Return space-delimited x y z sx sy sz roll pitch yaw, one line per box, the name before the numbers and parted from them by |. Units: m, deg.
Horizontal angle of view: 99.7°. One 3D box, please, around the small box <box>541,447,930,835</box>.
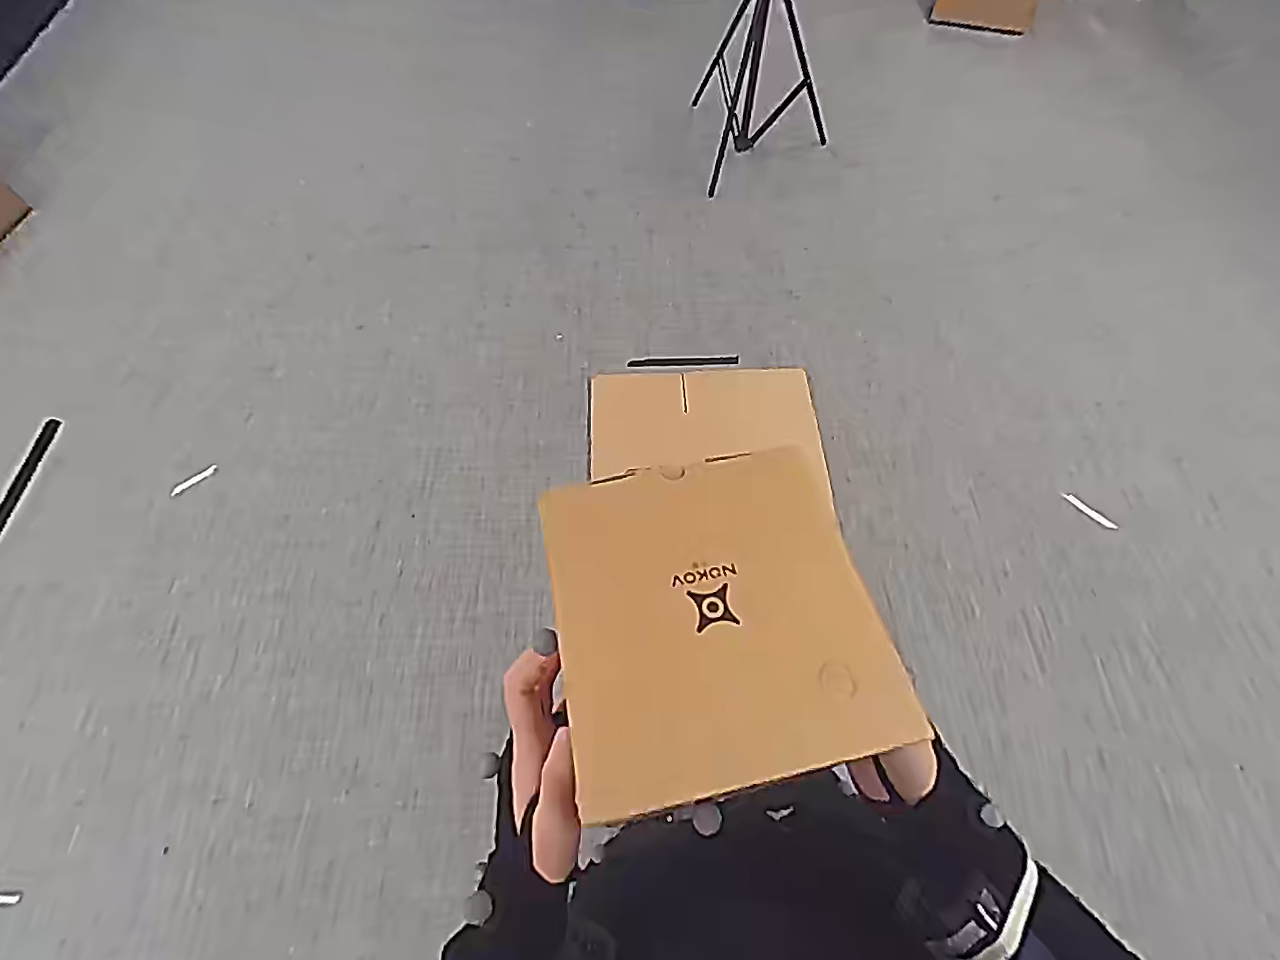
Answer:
small box | 0.039 0.108 0.349 0.168 0.176 0.179 -11 57 -6
